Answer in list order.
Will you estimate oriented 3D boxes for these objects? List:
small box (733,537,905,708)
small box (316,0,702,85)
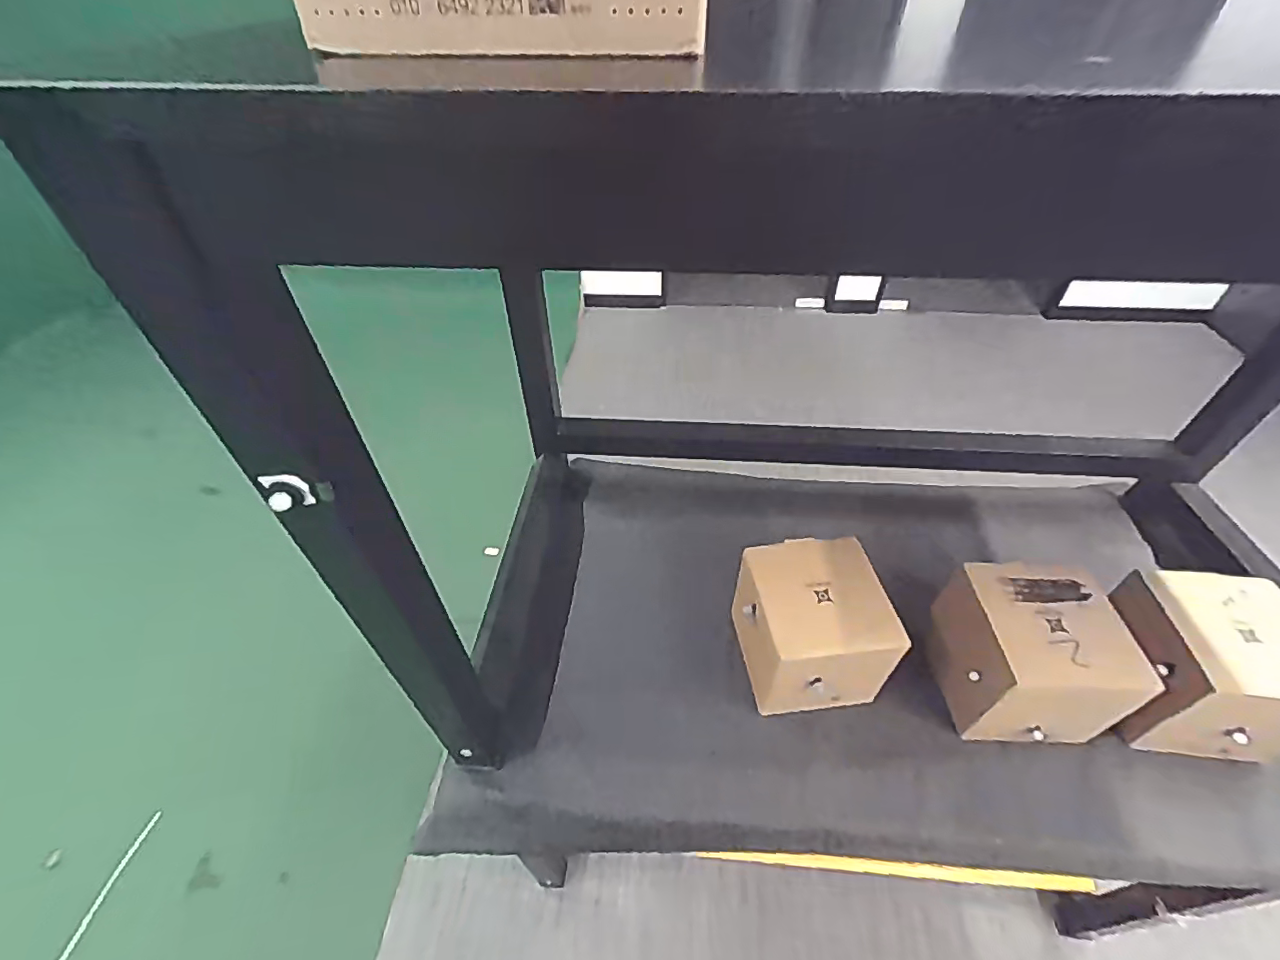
[{"bbox_3d":[0.237,0.206,0.766,0.168,0.176,0.179,-5,44,-4],"label":"small box"},{"bbox_3d":[-0.053,-0.289,0.232,0.168,0.176,0.179,3,45,4],"label":"small box"}]
